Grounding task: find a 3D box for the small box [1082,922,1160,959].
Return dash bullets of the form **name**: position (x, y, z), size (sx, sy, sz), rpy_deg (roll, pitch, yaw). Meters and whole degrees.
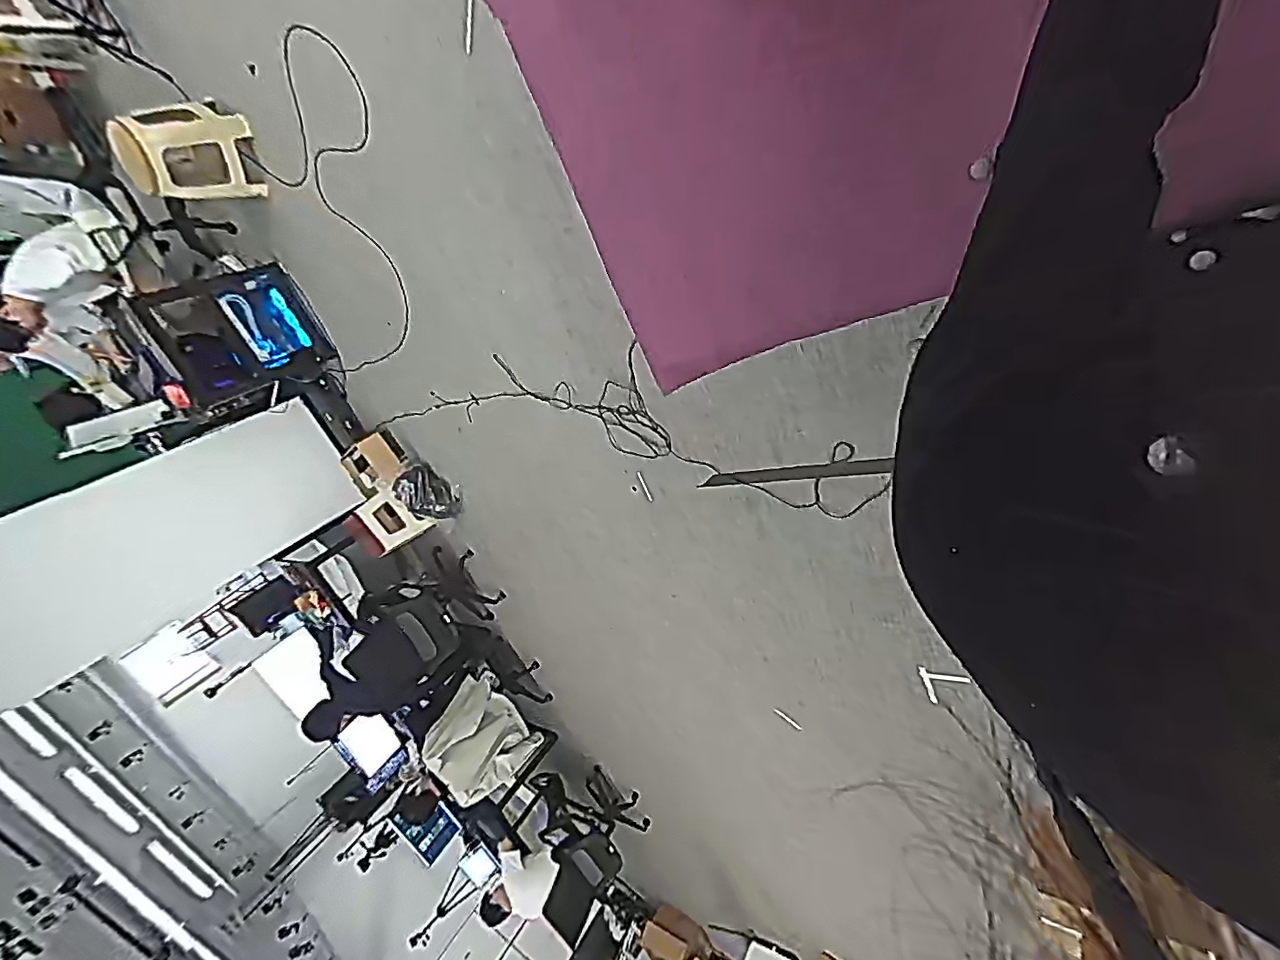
- **small box**: position (1.424, 1.465, 1.594), size (0.179, 0.176, 0.168), rpy_deg (-7, 115, 44)
